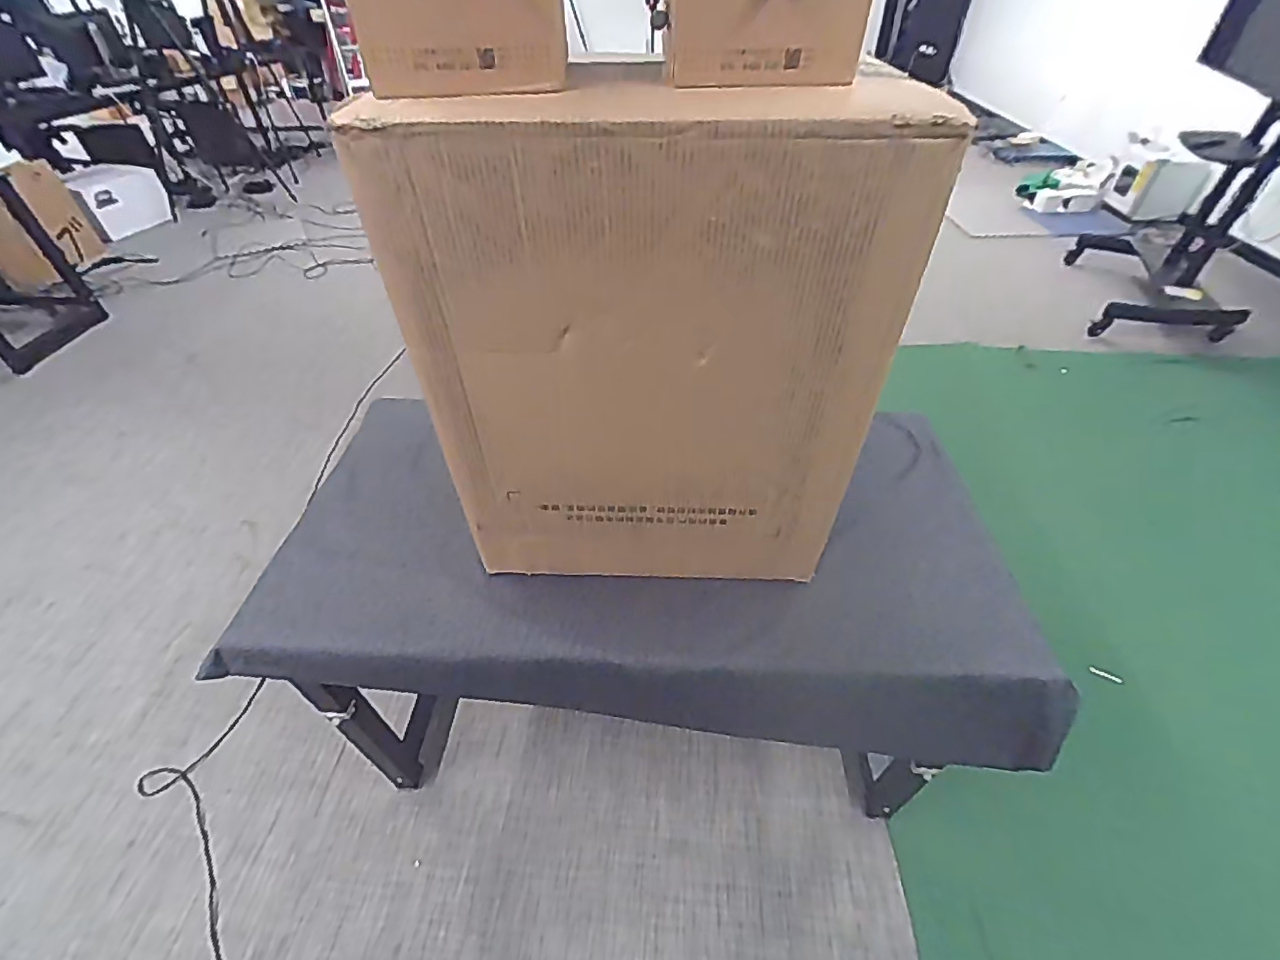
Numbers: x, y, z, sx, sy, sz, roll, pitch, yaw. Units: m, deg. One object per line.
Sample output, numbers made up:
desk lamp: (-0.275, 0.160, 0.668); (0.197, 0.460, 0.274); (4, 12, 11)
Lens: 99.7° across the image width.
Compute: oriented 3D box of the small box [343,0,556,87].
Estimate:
small box: (-0.167, -0.460, 0.471); (0.168, 0.176, 0.179); (-7, 48, -4)

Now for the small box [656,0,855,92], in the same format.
small box: (0.099, -0.469, 0.491); (0.168, 0.176, 0.179); (-2, 48, -1)
